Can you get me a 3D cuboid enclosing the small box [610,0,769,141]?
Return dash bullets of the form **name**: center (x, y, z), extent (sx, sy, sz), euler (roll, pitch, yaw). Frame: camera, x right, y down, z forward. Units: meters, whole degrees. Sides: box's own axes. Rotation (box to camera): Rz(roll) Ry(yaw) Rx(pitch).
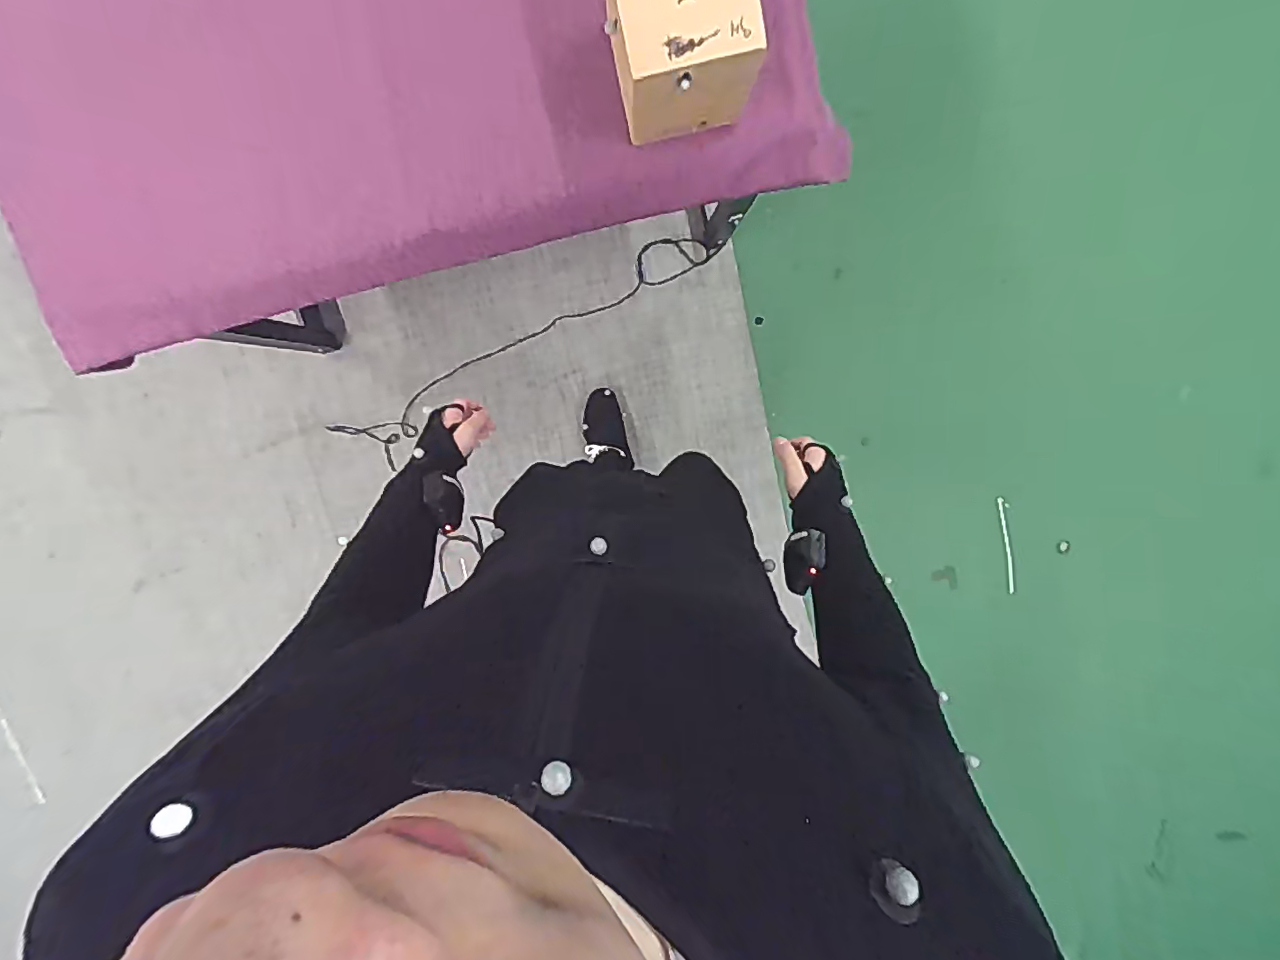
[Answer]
- **small box**: center (0.054, -0.586, 0.702), extent (0.168, 0.176, 0.179), euler (-12, 97, 1)
